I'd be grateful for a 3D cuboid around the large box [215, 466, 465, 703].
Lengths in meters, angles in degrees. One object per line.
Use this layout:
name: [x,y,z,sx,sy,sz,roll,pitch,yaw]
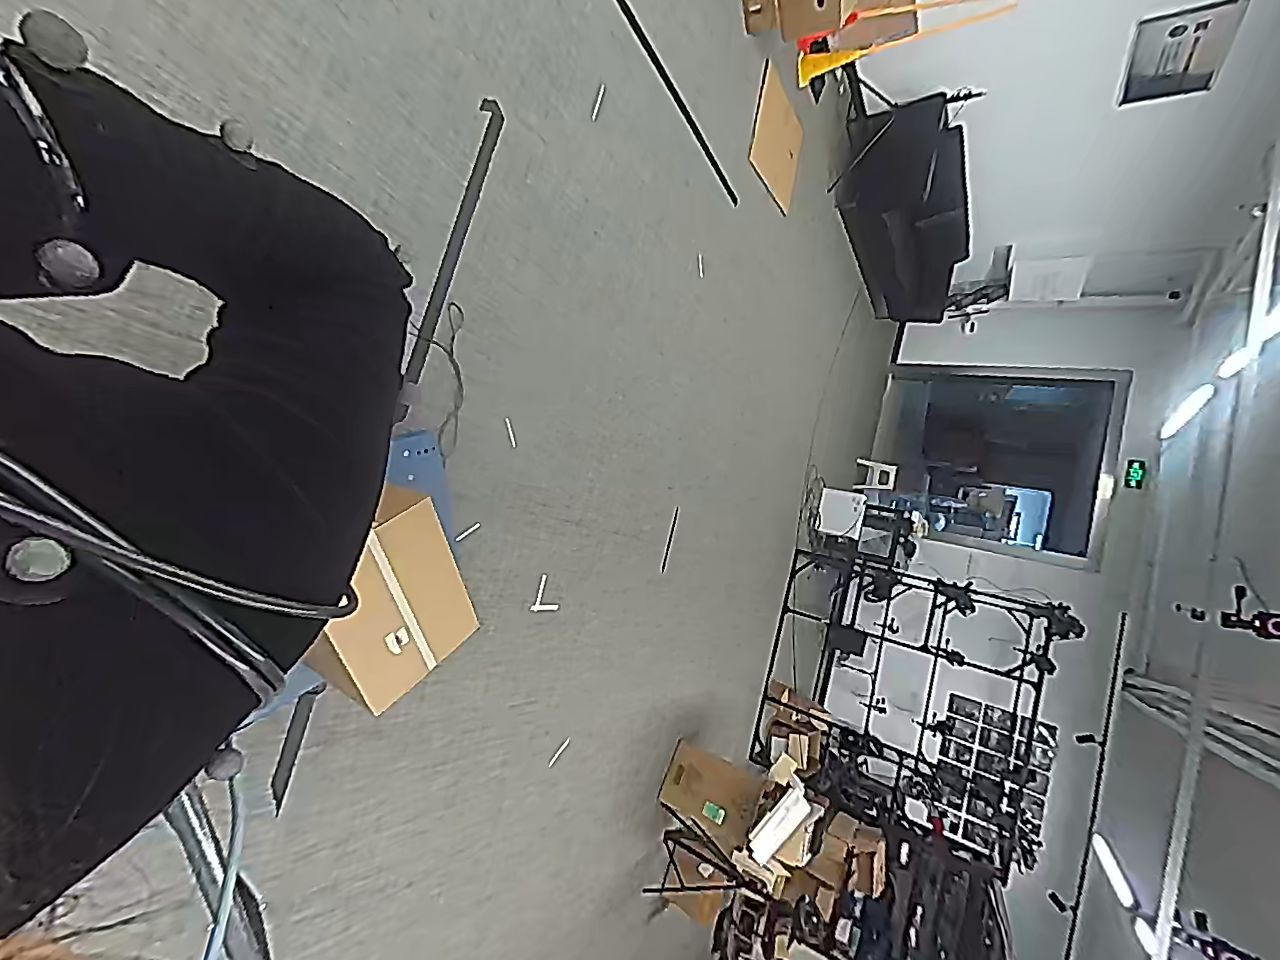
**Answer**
large box: [-0.686,0.227,1.278,0.320,0.320,0.408,-40,132,-43]
